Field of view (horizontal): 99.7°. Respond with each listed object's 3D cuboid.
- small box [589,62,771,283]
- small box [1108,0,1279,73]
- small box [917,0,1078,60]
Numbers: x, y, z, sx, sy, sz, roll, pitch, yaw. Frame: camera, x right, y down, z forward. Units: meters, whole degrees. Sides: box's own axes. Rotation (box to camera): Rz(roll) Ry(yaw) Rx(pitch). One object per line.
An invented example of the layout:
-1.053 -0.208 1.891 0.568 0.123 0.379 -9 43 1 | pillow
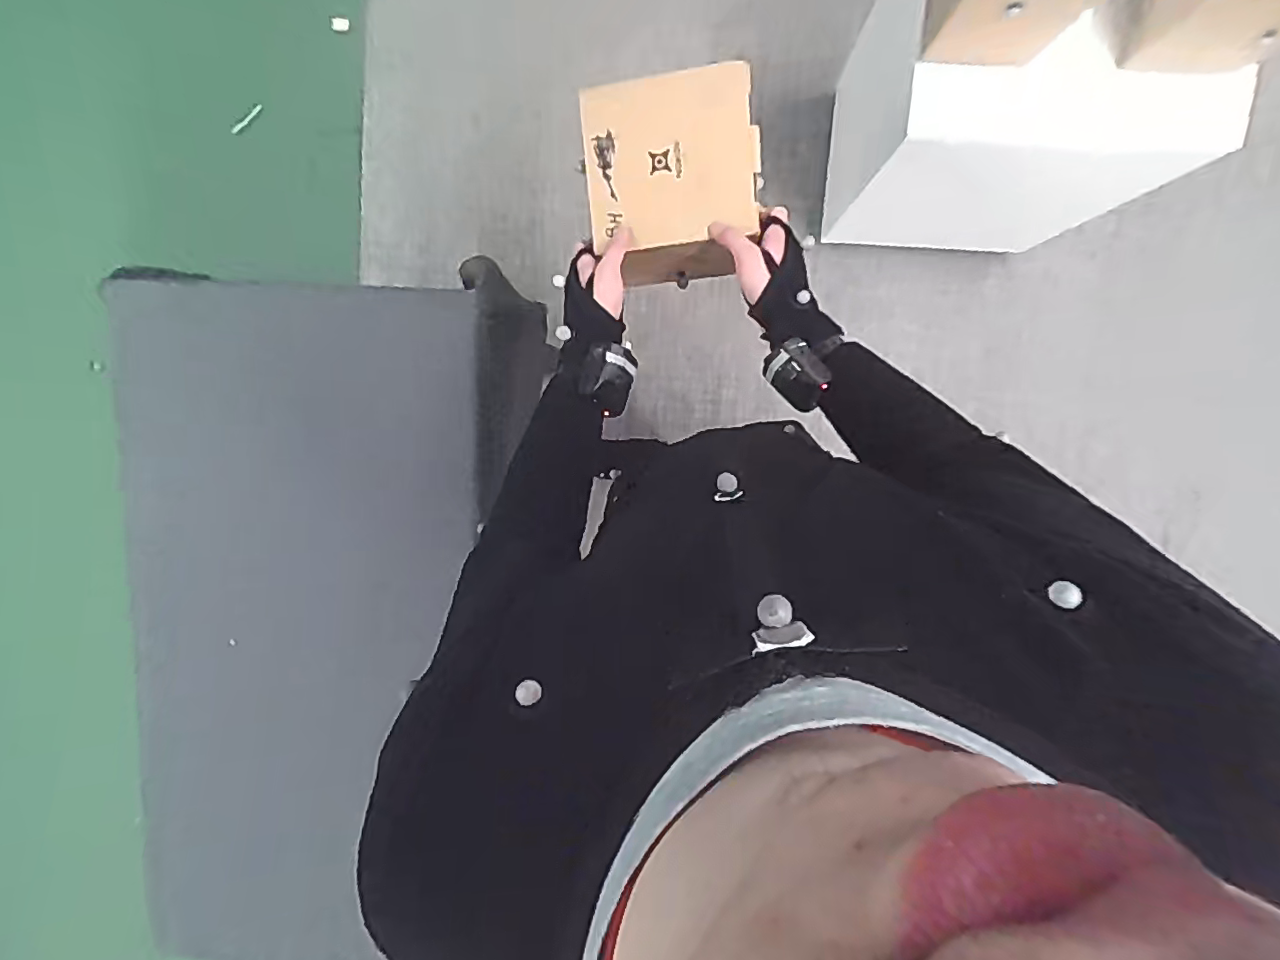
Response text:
0.047 -0.334 0.624 0.179 0.176 0.168 -4 98 6 | small box
0.816 -0.704 0.749 0.179 0.176 0.168 6 97 3 | small box
0.517 -0.729 0.756 0.179 0.176 0.168 4 98 0 | small box
